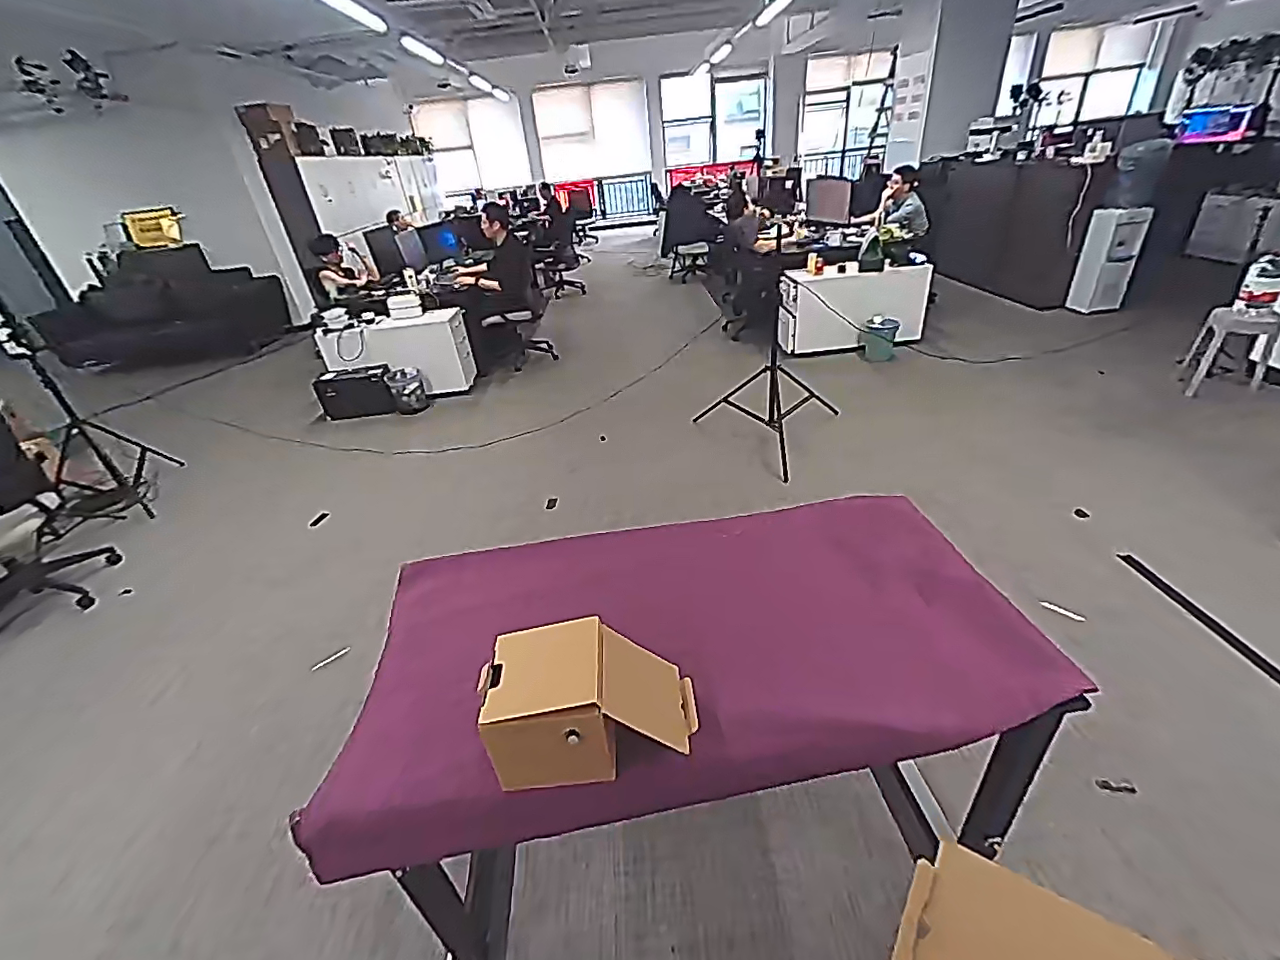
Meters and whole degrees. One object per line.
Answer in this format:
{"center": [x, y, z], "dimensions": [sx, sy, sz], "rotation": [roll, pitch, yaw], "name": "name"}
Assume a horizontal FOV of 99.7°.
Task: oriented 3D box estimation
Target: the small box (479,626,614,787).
{"center": [-0.134, 0.357, 0.858], "dimensions": [0.179, 0.176, 0.168], "rotation": [-7, 30, 1], "name": "small box"}
